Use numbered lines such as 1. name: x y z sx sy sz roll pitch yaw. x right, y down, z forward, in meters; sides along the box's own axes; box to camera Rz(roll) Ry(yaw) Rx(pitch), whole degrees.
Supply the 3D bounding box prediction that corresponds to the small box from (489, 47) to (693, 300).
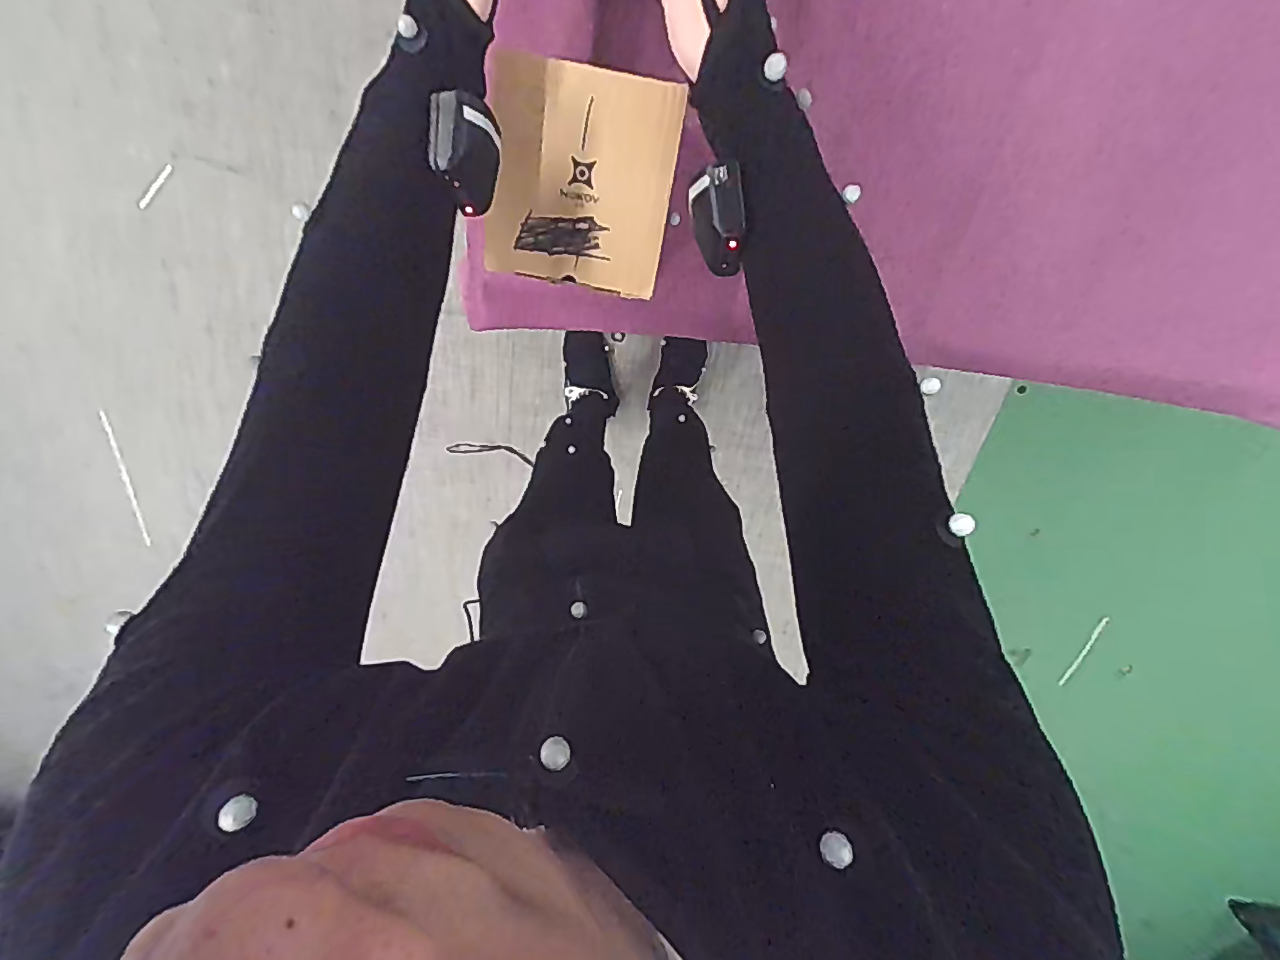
1. small box: -0.047 -0.299 0.555 0.168 0.176 0.179 10 115 -4
